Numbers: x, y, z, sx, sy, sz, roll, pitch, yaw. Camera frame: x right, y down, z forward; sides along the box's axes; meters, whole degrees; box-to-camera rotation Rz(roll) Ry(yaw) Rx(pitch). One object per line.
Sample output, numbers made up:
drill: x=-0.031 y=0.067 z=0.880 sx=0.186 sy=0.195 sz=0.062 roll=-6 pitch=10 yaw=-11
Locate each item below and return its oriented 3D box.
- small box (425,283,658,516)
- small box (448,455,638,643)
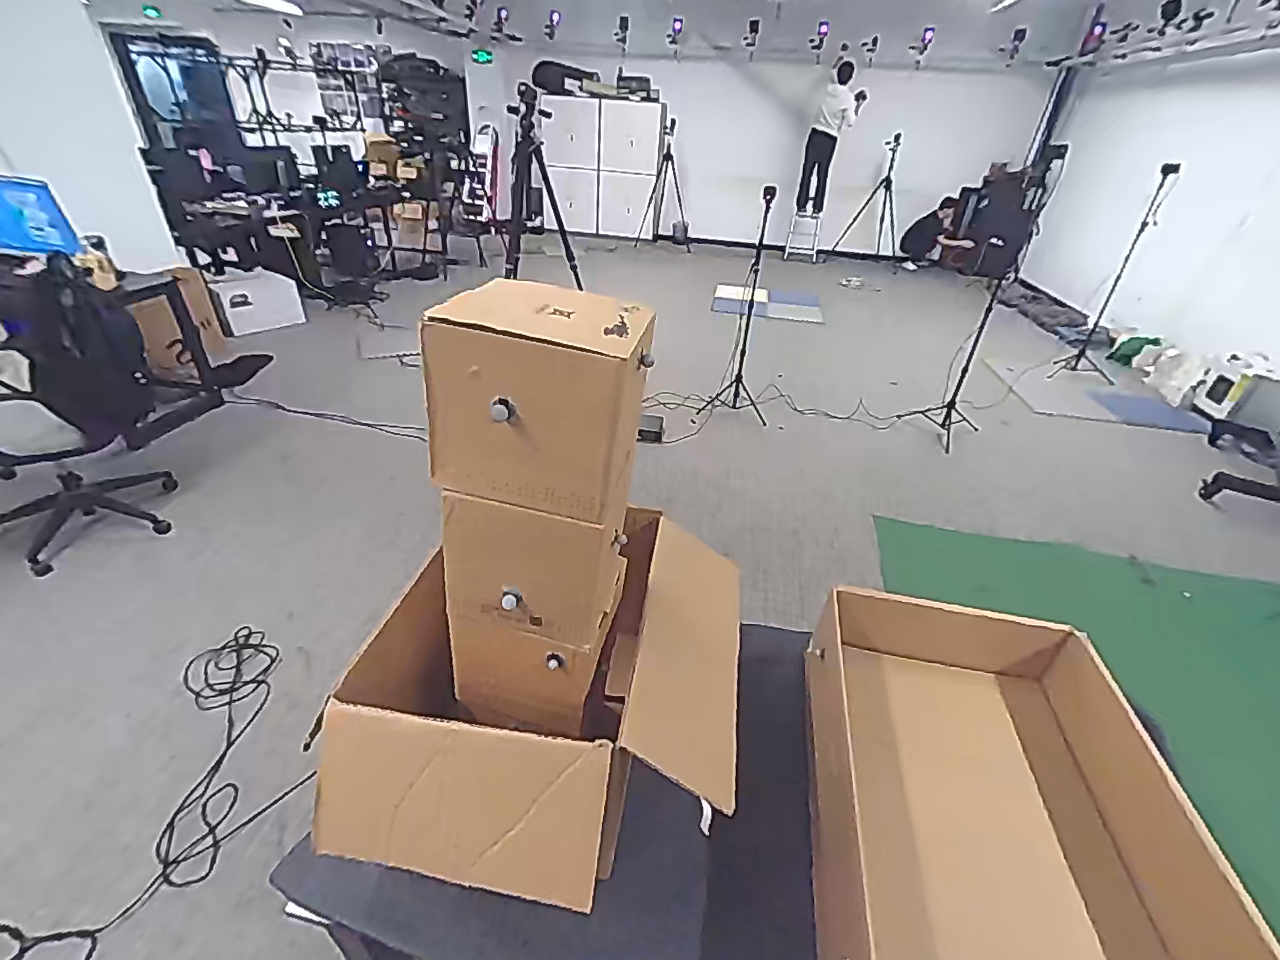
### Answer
small box: x=-0.089 y=-0.083 z=0.542 sx=0.179 sy=0.176 sz=0.168 roll=12 pitch=33 yaw=4
small box: x=-0.107 y=0.055 z=0.629 sx=0.168 sy=0.176 sz=0.179 roll=12 pitch=33 yaw=4
